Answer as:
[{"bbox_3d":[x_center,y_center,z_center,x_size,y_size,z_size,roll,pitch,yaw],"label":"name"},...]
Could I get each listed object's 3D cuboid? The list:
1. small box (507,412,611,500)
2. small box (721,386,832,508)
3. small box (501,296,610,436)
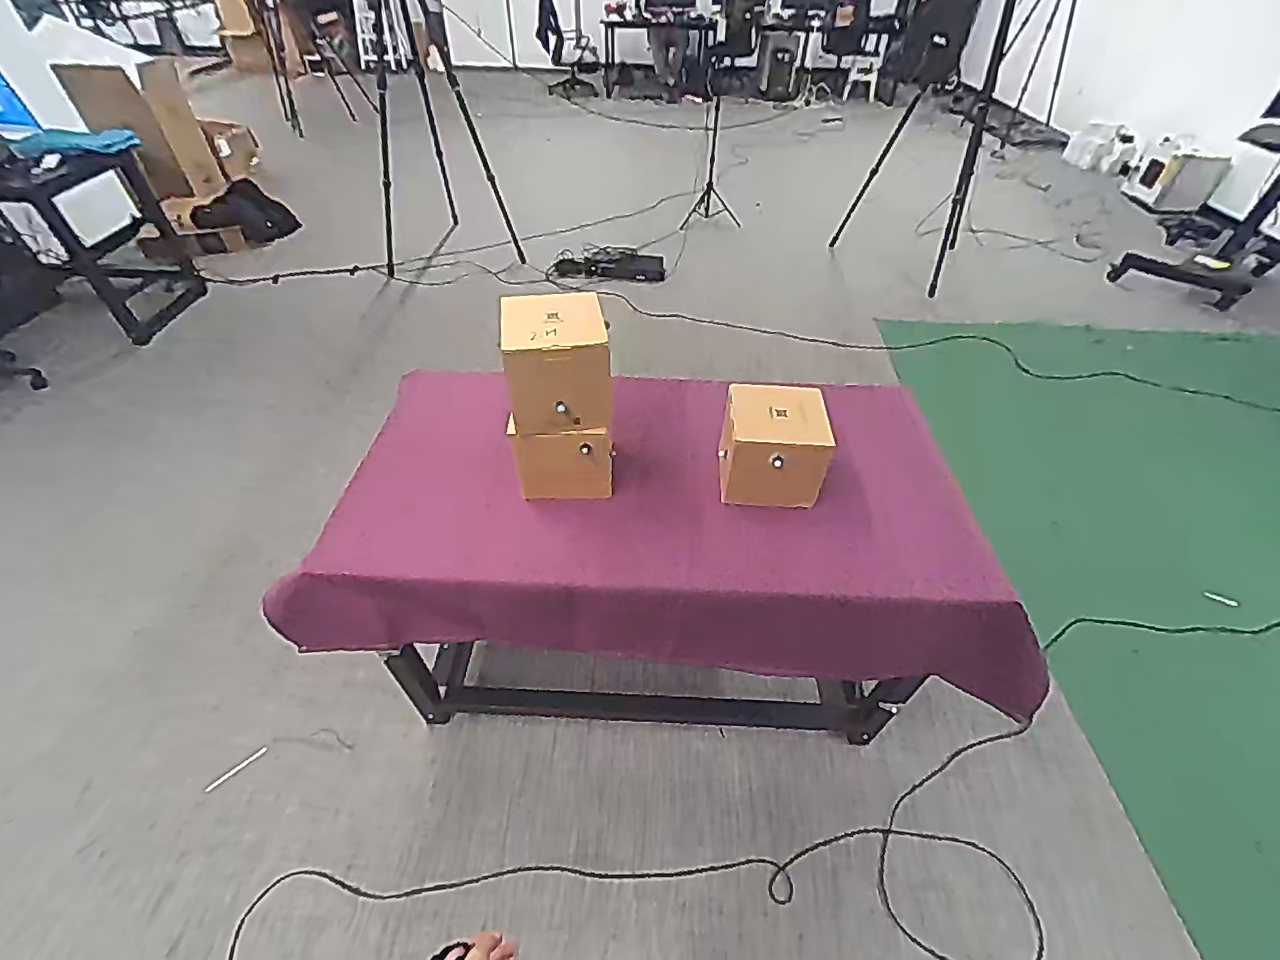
[{"bbox_3d":[-0.147,-0.074,1.046,0.179,0.176,0.168,0,45,-3],"label":"small box"},{"bbox_3d":[0.249,-0.061,1.037,0.179,0.176,0.168,4,46,2],"label":"small box"},{"bbox_3d":[-0.145,-0.198,0.936,0.168,0.176,0.179,-7,46,-8],"label":"small box"}]
